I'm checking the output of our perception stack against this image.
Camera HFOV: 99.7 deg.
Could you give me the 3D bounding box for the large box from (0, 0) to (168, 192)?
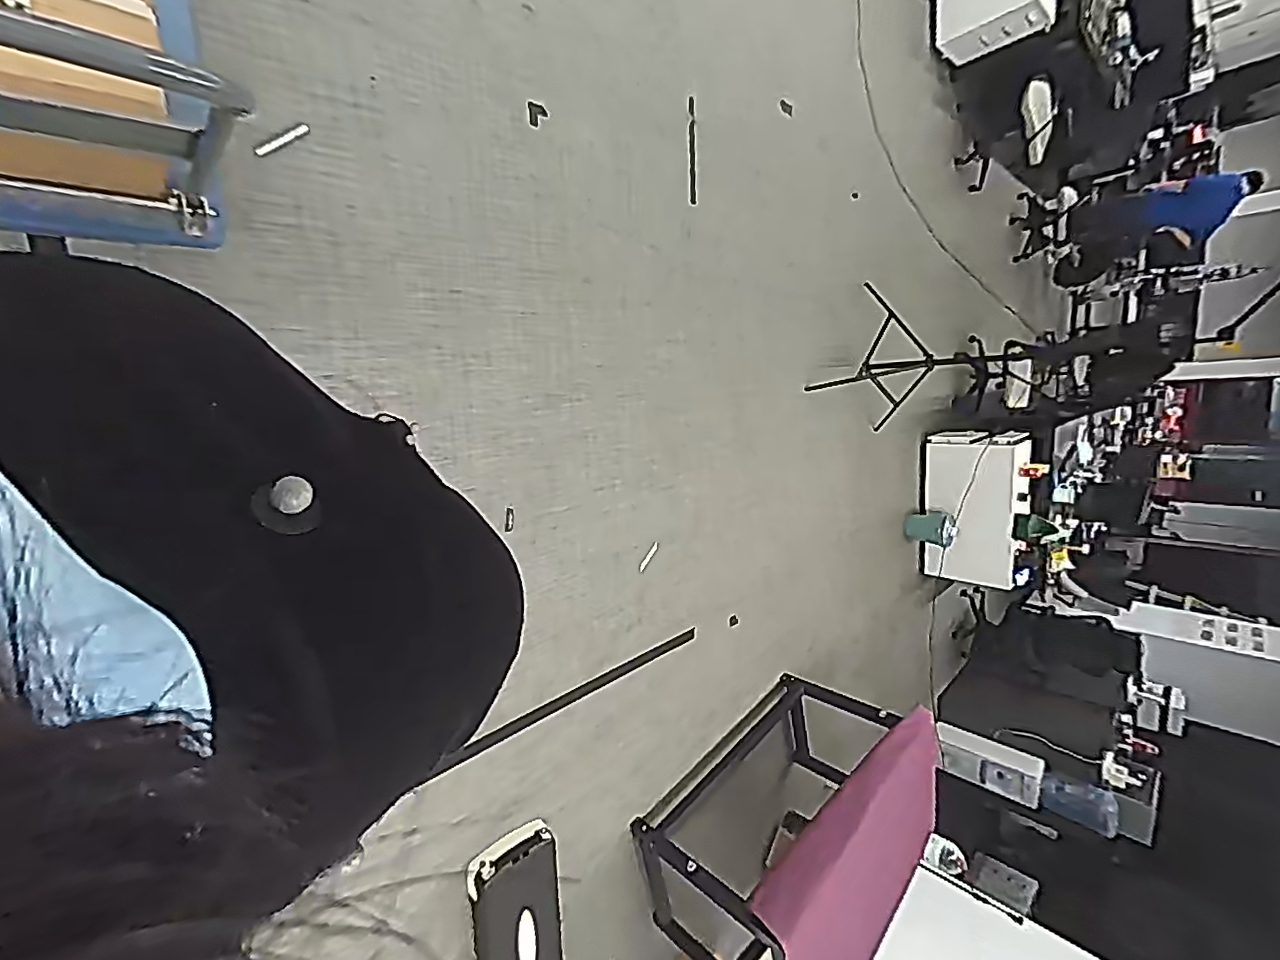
[{"bbox_3d":[-0.942,-0.634,0.735,0.408,0.320,0.320,-12,103,-43],"label":"large box"}]
